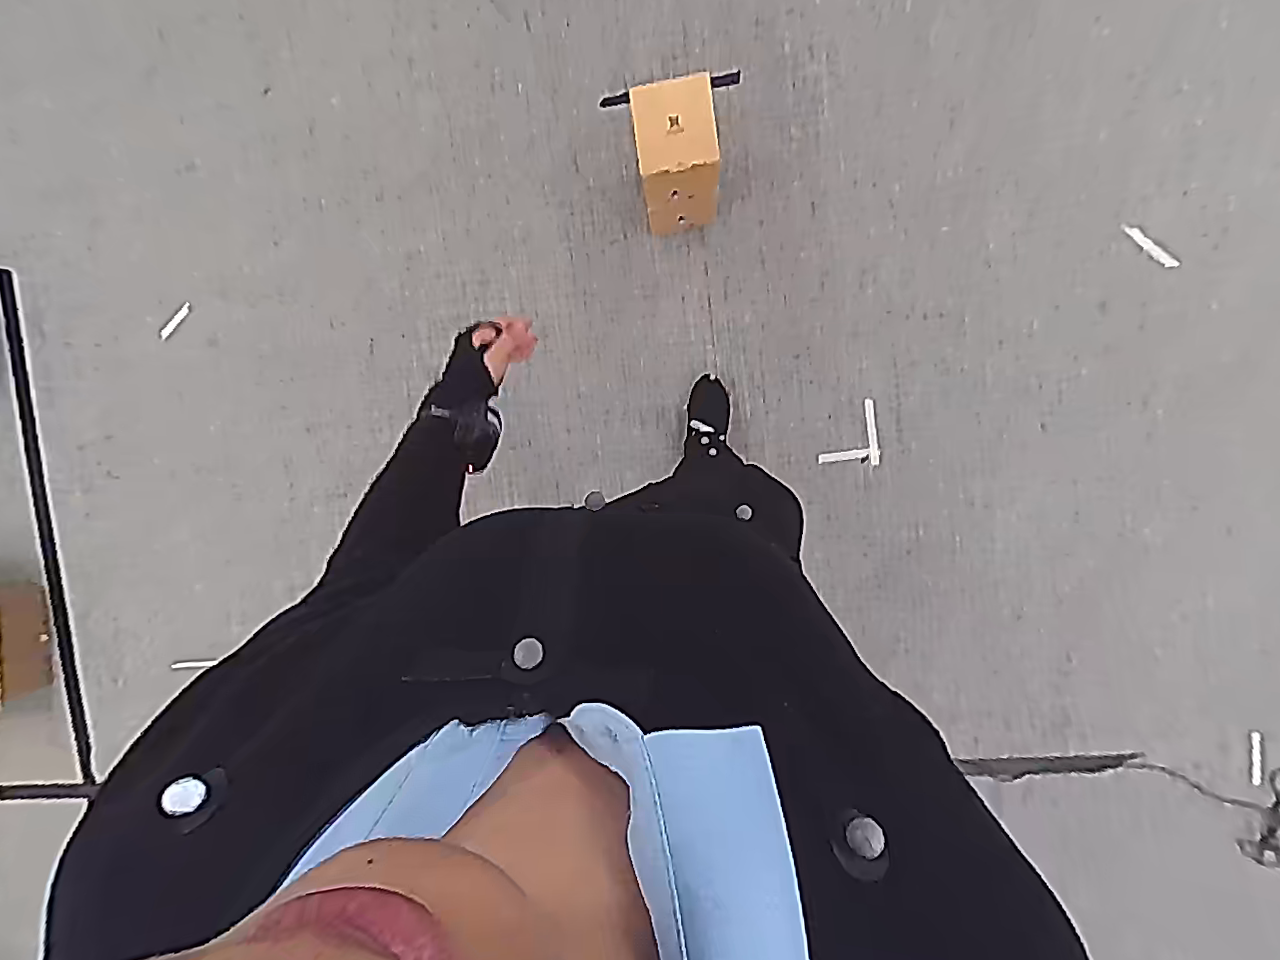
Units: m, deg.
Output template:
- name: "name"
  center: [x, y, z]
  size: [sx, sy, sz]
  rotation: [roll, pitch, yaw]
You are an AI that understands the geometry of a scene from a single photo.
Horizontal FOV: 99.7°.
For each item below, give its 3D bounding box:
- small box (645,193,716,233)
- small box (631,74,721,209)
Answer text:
- name: "small box"
  center: [0.091, -0.728, 1.326]
  size: [0.168, 0.176, 0.179]
  rotation: [-9, 93, 5]
- name: "small box"
  center: [0.077, -0.717, 1.164]
  size: [0.168, 0.176, 0.179]
  rotation: [-8, 94, 6]
